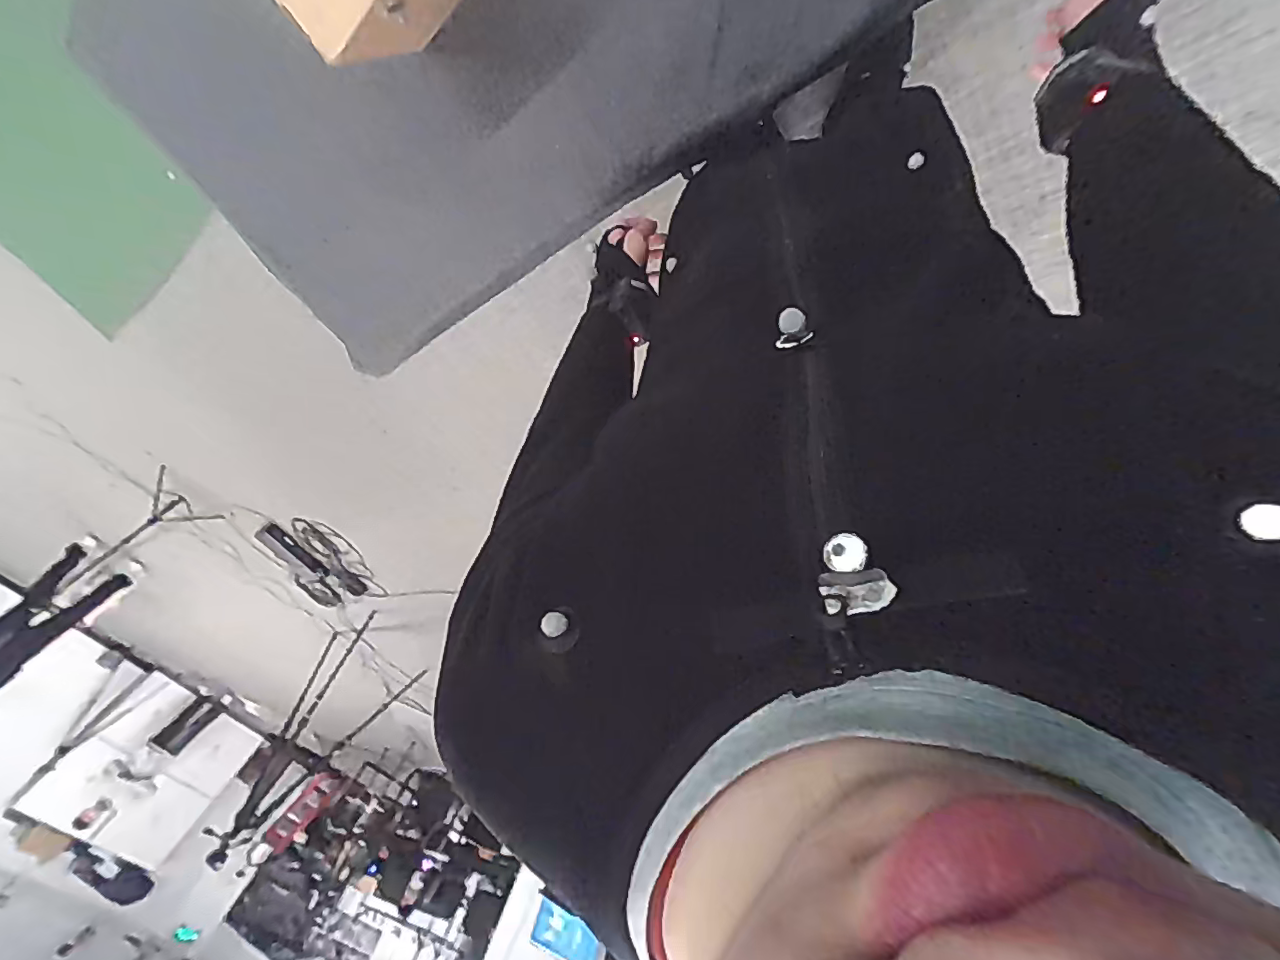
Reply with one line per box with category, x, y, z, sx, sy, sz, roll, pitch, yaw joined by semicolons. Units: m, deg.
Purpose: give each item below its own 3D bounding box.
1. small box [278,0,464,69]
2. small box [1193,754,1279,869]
small box;-0.270;-0.552;0.529;0.179;0.176;0.168;-19;122;35
small box;1.348;0.716;1.173;0.179;0.176;0.168;-18;122;36
